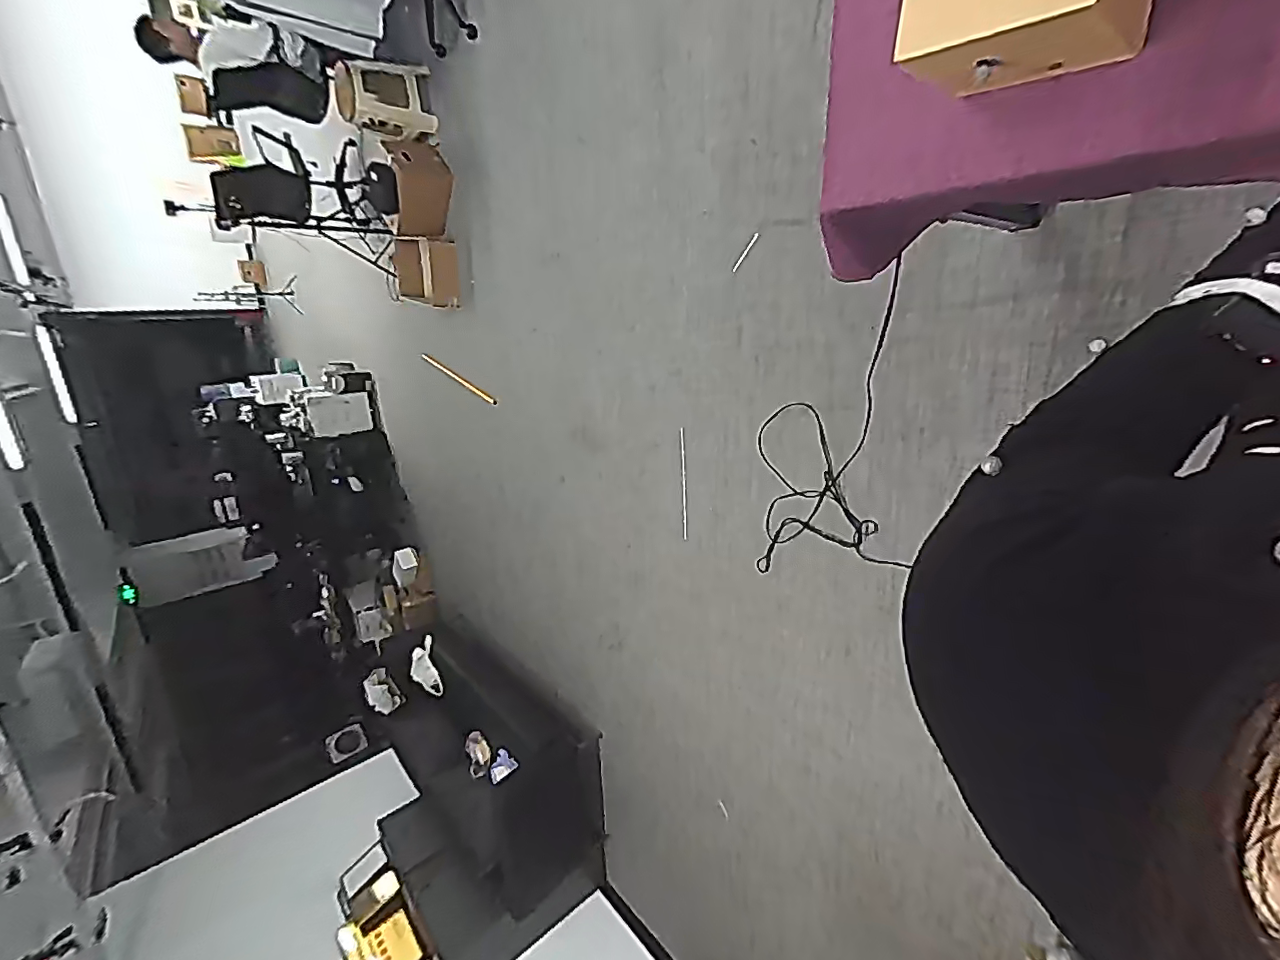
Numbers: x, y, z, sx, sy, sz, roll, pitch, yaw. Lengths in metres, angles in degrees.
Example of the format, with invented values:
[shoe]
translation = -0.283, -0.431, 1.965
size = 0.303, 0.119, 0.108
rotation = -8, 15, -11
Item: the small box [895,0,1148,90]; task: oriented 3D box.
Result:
[small box]
translation = 0.374, -0.499, 0.513
size = 0.168, 0.176, 0.179
rotation = 23, 118, 46
